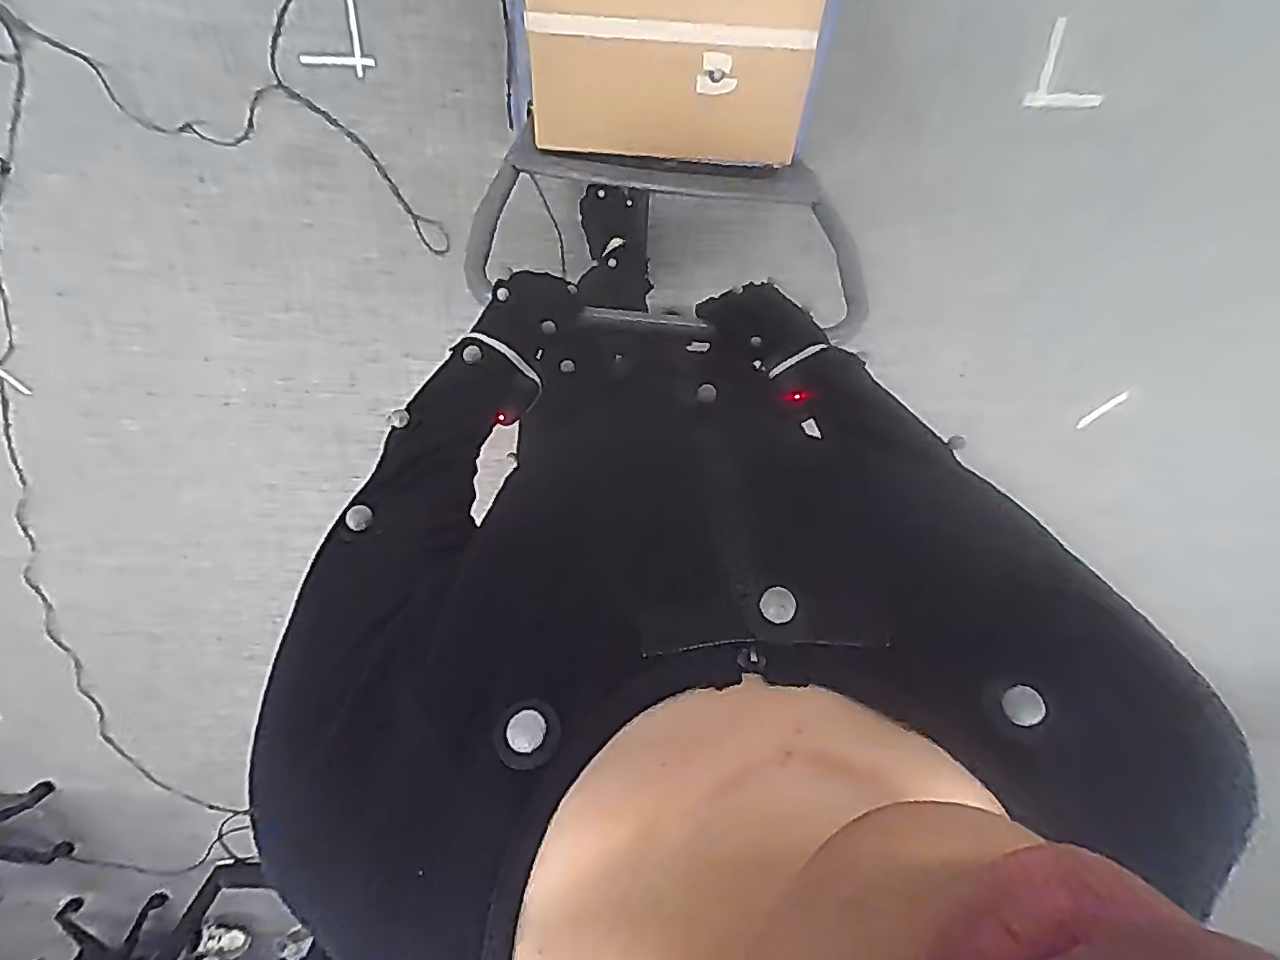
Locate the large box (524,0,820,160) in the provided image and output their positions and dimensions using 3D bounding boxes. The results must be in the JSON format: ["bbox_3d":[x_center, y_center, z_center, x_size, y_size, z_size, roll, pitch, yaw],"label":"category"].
[{"bbox_3d":[0.039,-0.721,0.848,0.408,0.320,0.320,1,135,-2],"label":"large box"}]
